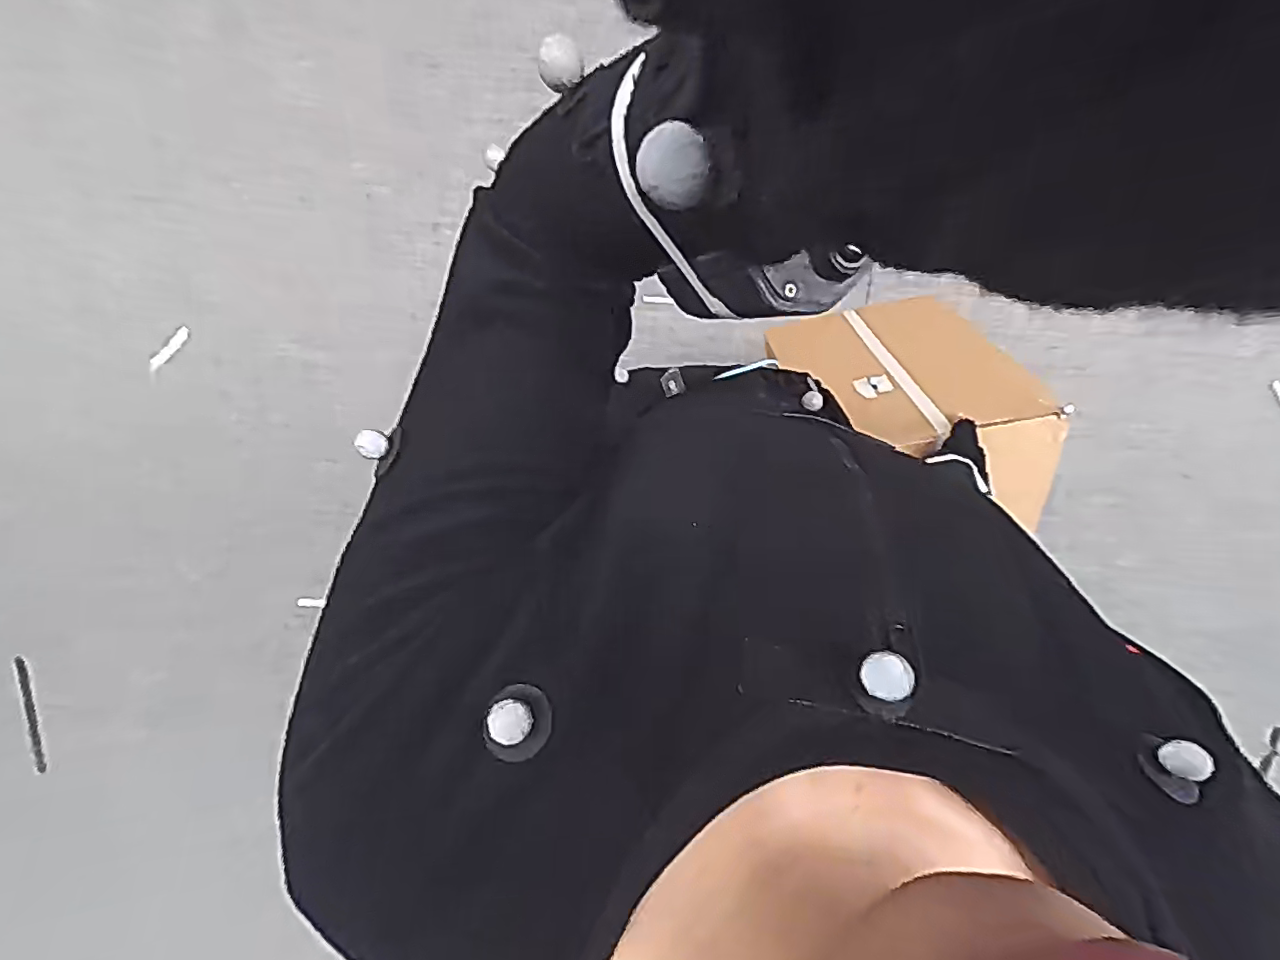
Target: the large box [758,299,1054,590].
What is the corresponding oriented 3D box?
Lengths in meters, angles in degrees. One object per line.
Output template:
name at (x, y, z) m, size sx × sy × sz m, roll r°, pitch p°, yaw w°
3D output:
large box at (0.412, -0.073, 0.963) m, size 0.320 × 0.408 × 0.320 m, roll -11°, pitch 130°, yaw 7°
